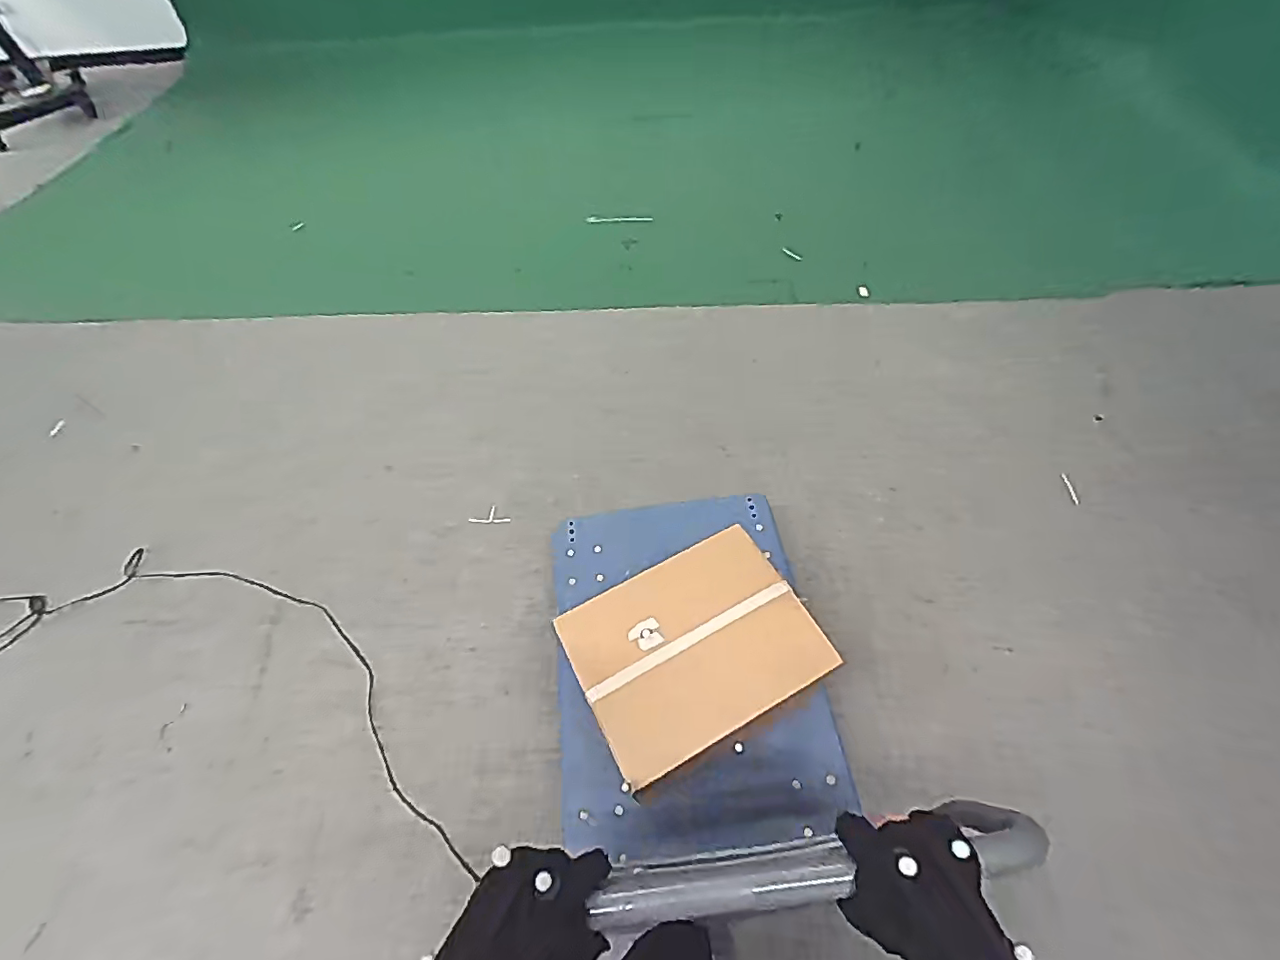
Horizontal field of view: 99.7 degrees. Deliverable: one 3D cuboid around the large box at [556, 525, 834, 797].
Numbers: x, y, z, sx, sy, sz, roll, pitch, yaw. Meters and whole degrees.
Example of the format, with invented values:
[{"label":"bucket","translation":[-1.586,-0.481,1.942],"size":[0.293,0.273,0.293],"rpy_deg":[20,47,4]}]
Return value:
[{"label":"large box","translation":[0.101,0.363,1.076],"size":[0.408,0.320,0.320],"rpy_deg":[-27,58,-12]}]
